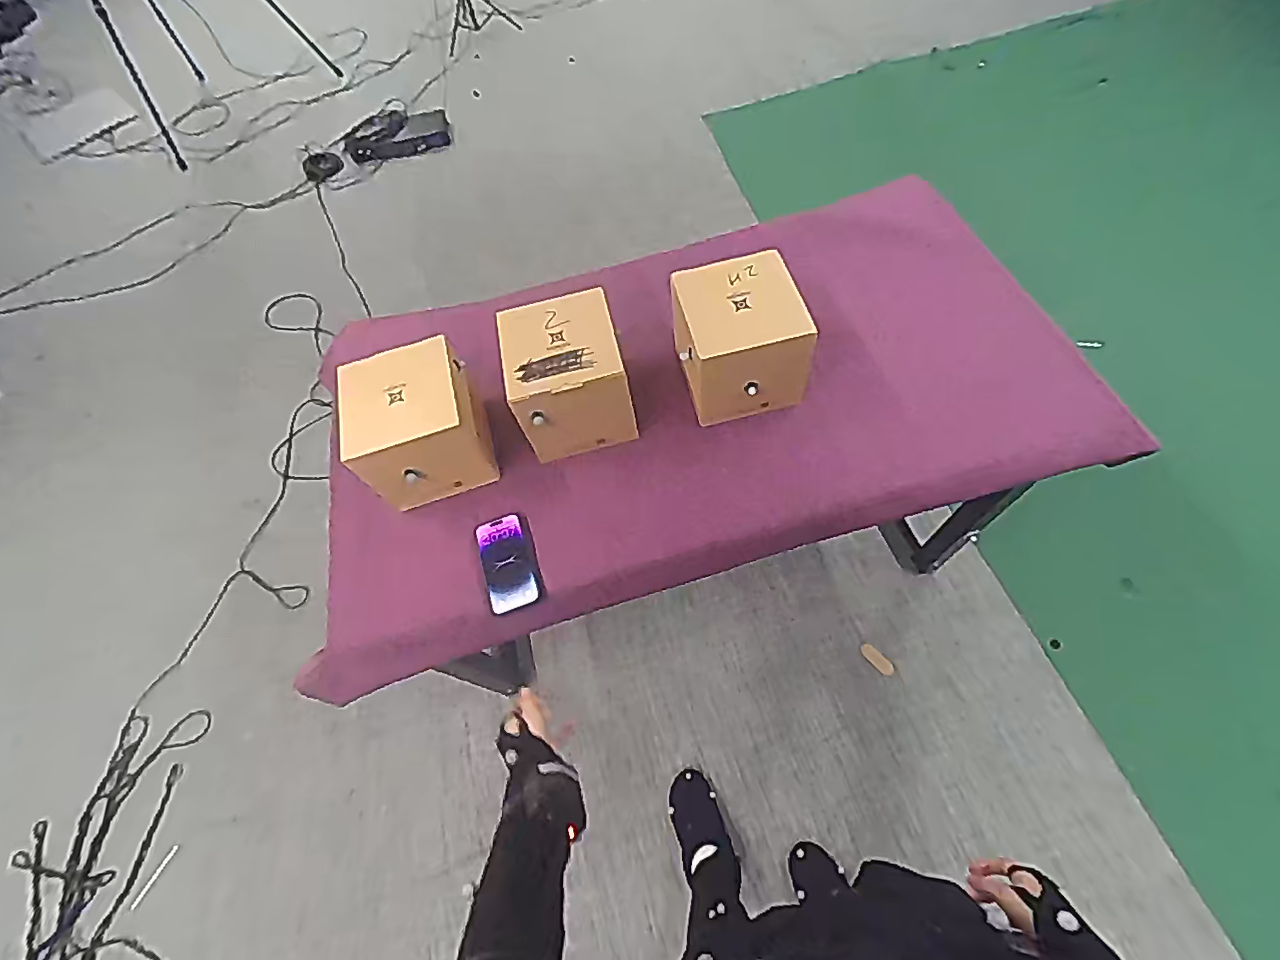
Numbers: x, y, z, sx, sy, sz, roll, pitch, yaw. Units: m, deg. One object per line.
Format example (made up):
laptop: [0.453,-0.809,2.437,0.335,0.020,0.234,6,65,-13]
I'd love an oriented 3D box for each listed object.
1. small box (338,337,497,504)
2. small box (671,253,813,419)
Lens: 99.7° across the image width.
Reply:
small box: [-0.333,-0.080,0.828,0.168,0.176,0.179,-18,60,-3]
small box: [0.150,-0.211,0.837,0.168,0.176,0.179,-13,61,-1]
